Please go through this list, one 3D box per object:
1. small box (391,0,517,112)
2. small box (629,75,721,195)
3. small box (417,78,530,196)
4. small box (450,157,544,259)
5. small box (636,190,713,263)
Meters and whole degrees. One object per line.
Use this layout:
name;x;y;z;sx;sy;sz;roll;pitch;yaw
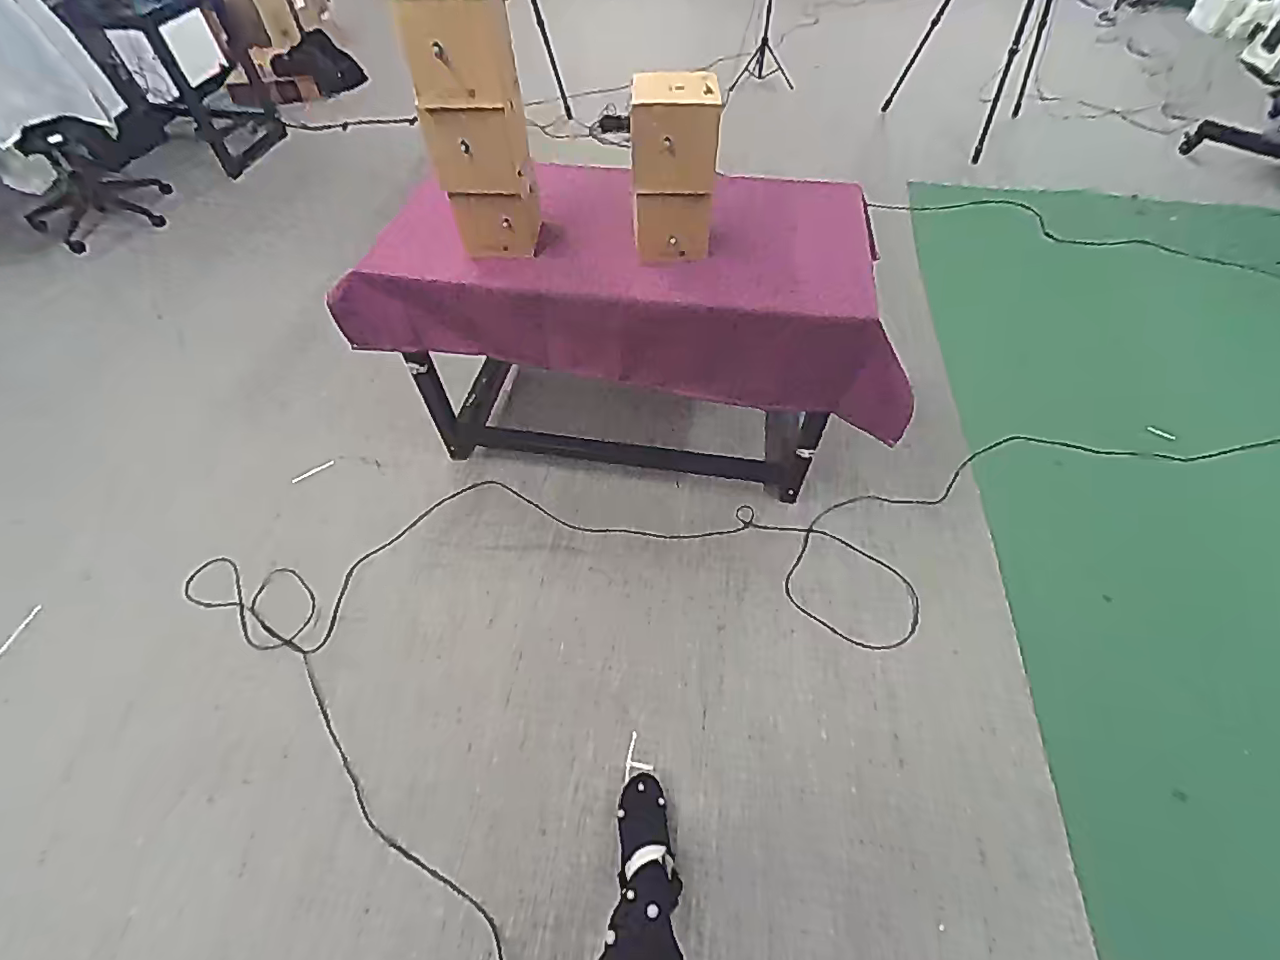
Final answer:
small box;-0.332;-0.810;1.006;0.168;0.176;0.179;-1;53;-1
small box;0.072;-0.714;1.125;0.179;0.176;0.168;1;54;2
small box;-0.338;-0.724;1.144;0.179;0.176;0.168;2;54;2
small box;-0.331;-0.647;1.291;0.168;0.176;0.179;2;53;2
small box;0.074;-0.633;1.270;0.168;0.176;0.179;-3;54;-1
